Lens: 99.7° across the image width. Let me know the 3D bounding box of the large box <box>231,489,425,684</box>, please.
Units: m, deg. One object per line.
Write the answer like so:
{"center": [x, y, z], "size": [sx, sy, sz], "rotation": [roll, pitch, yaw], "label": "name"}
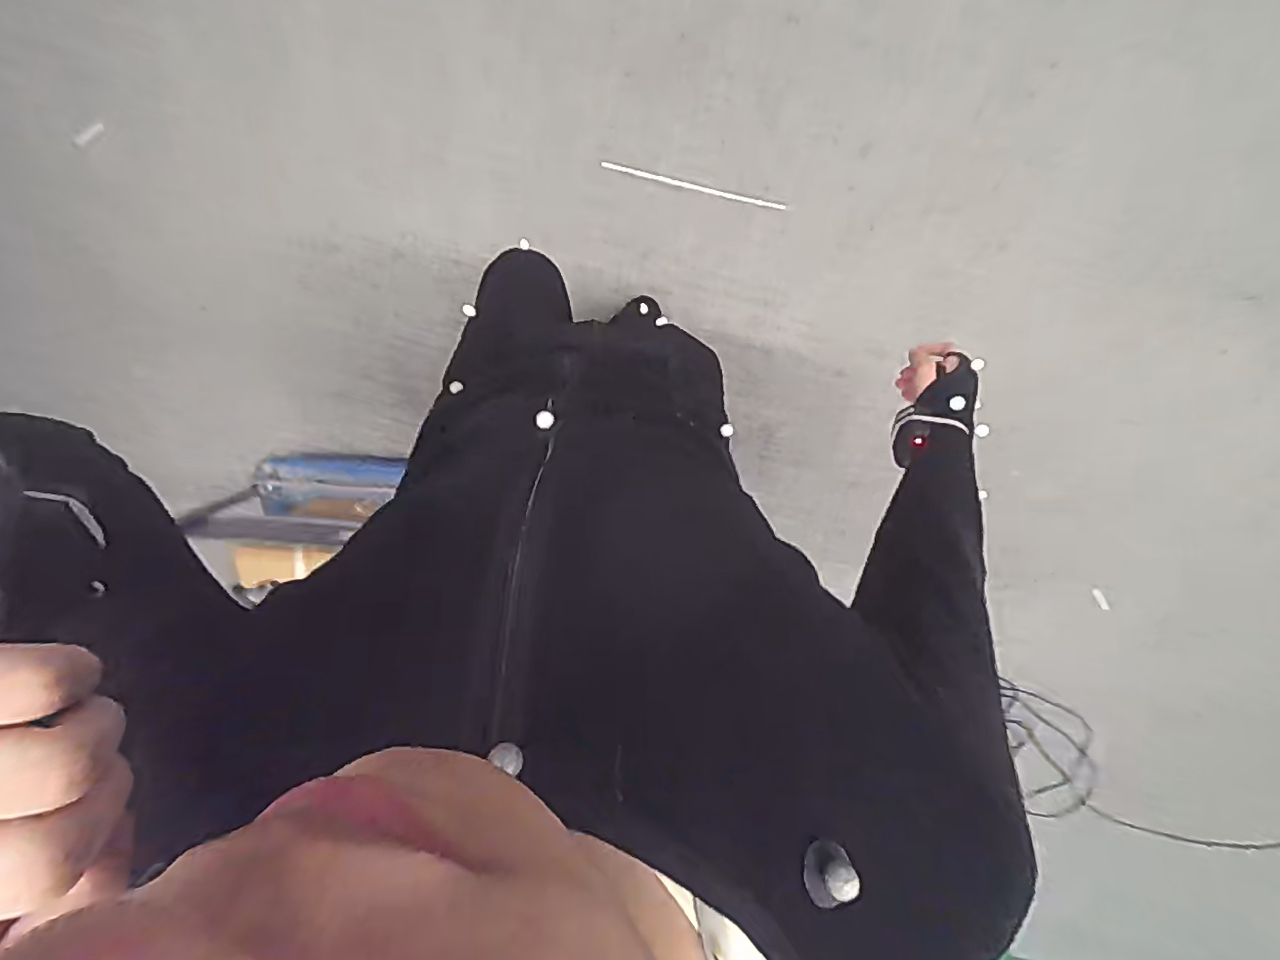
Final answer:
{"center": [-0.782, 0.264, 1.423], "size": [0.320, 0.320, 0.408], "rotation": [5, 110, 0], "label": "large box"}
